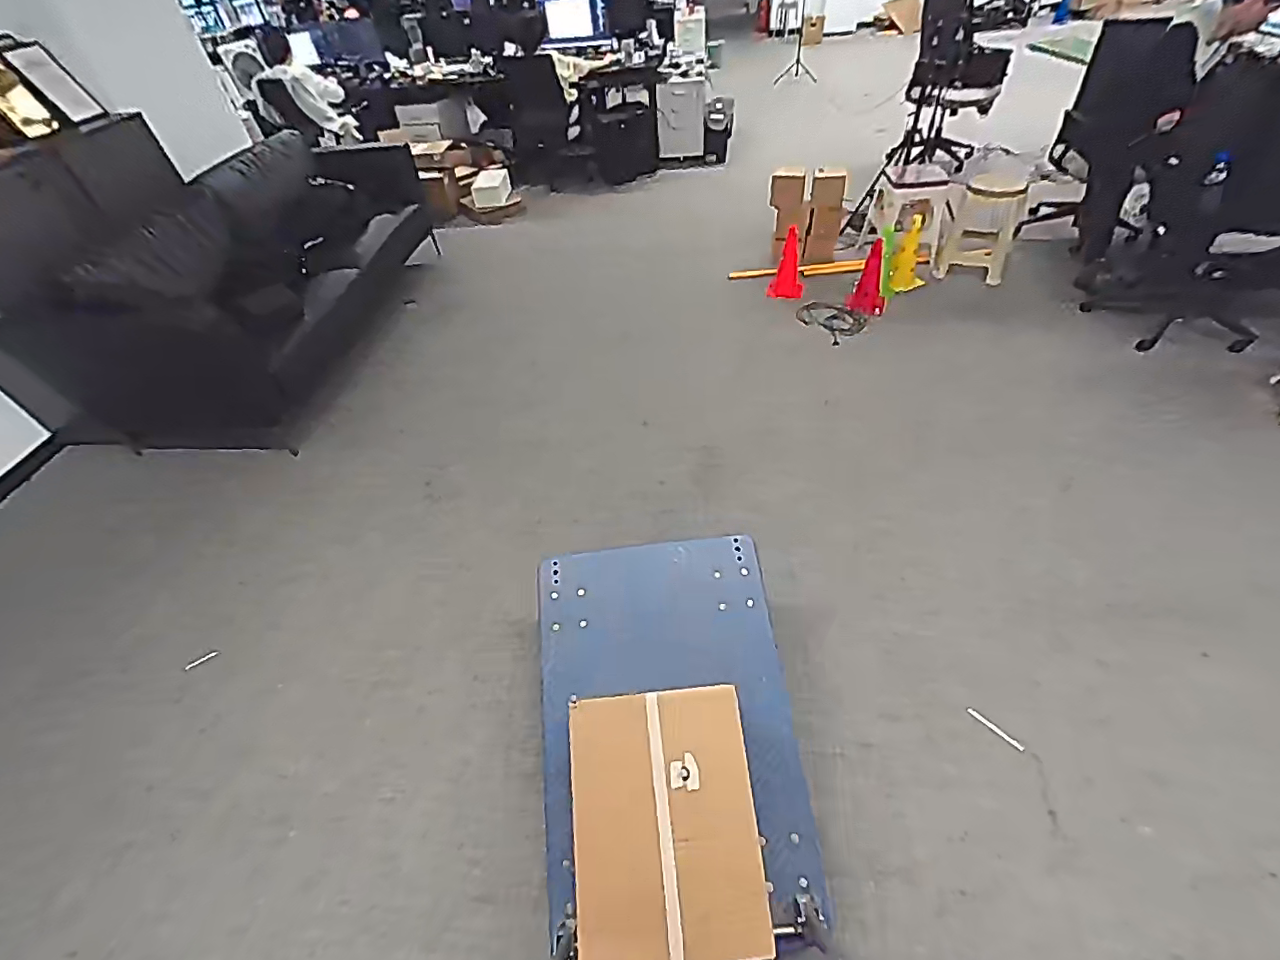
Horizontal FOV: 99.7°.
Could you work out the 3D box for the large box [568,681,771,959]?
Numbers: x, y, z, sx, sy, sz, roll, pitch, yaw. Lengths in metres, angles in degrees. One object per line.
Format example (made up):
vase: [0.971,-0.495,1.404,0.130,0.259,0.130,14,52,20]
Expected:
large box: [0.050,0.641,1.076,0.320,0.320,0.408,-7,65,2]
